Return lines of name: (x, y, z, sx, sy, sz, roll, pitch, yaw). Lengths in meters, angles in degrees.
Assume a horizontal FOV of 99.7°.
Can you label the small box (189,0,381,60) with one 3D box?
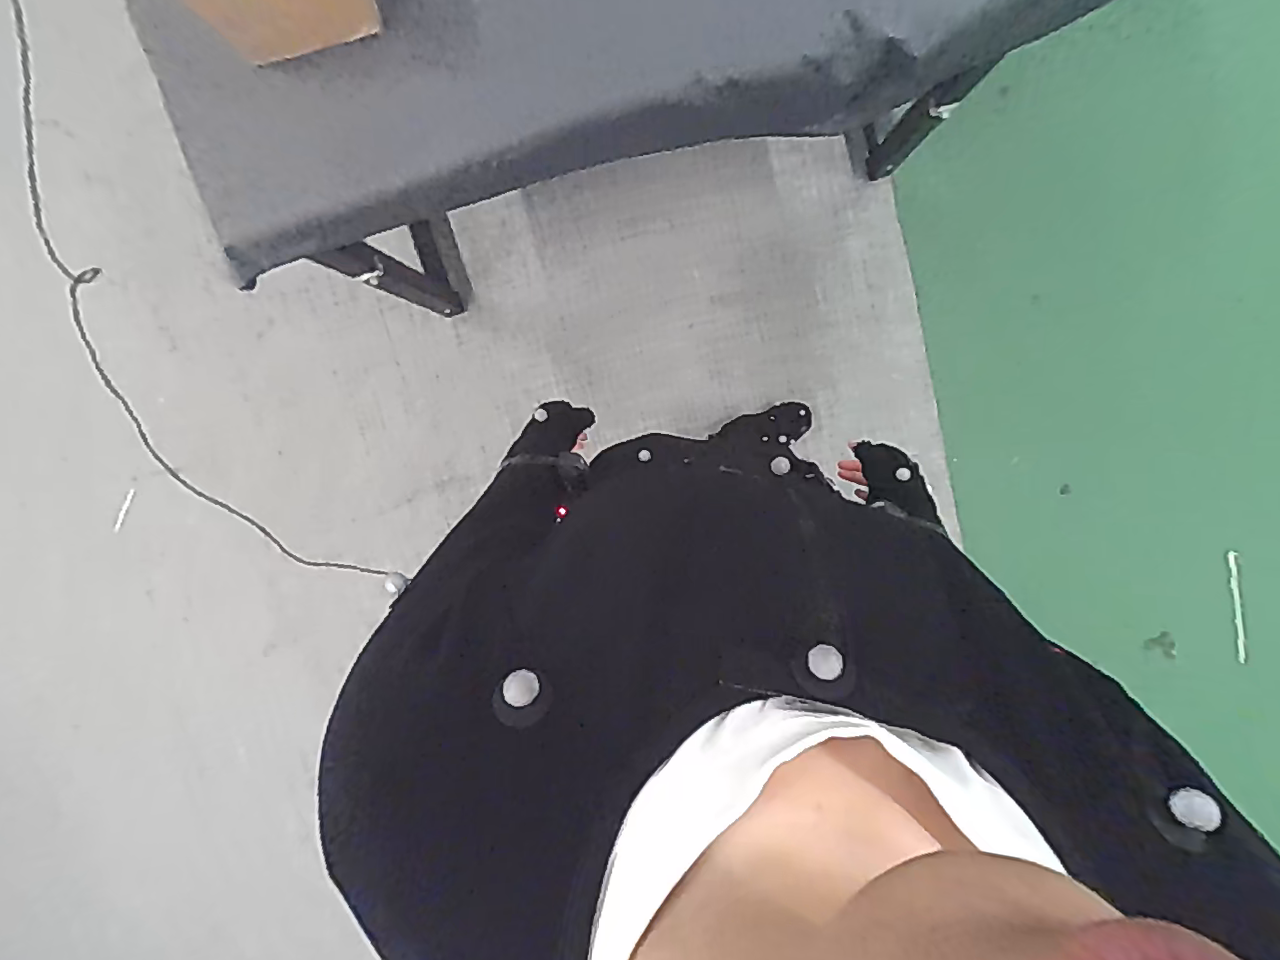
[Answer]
small box: (-0.418, -0.600, 0.582, 0.179, 0.176, 0.168, -12, 98, 2)
